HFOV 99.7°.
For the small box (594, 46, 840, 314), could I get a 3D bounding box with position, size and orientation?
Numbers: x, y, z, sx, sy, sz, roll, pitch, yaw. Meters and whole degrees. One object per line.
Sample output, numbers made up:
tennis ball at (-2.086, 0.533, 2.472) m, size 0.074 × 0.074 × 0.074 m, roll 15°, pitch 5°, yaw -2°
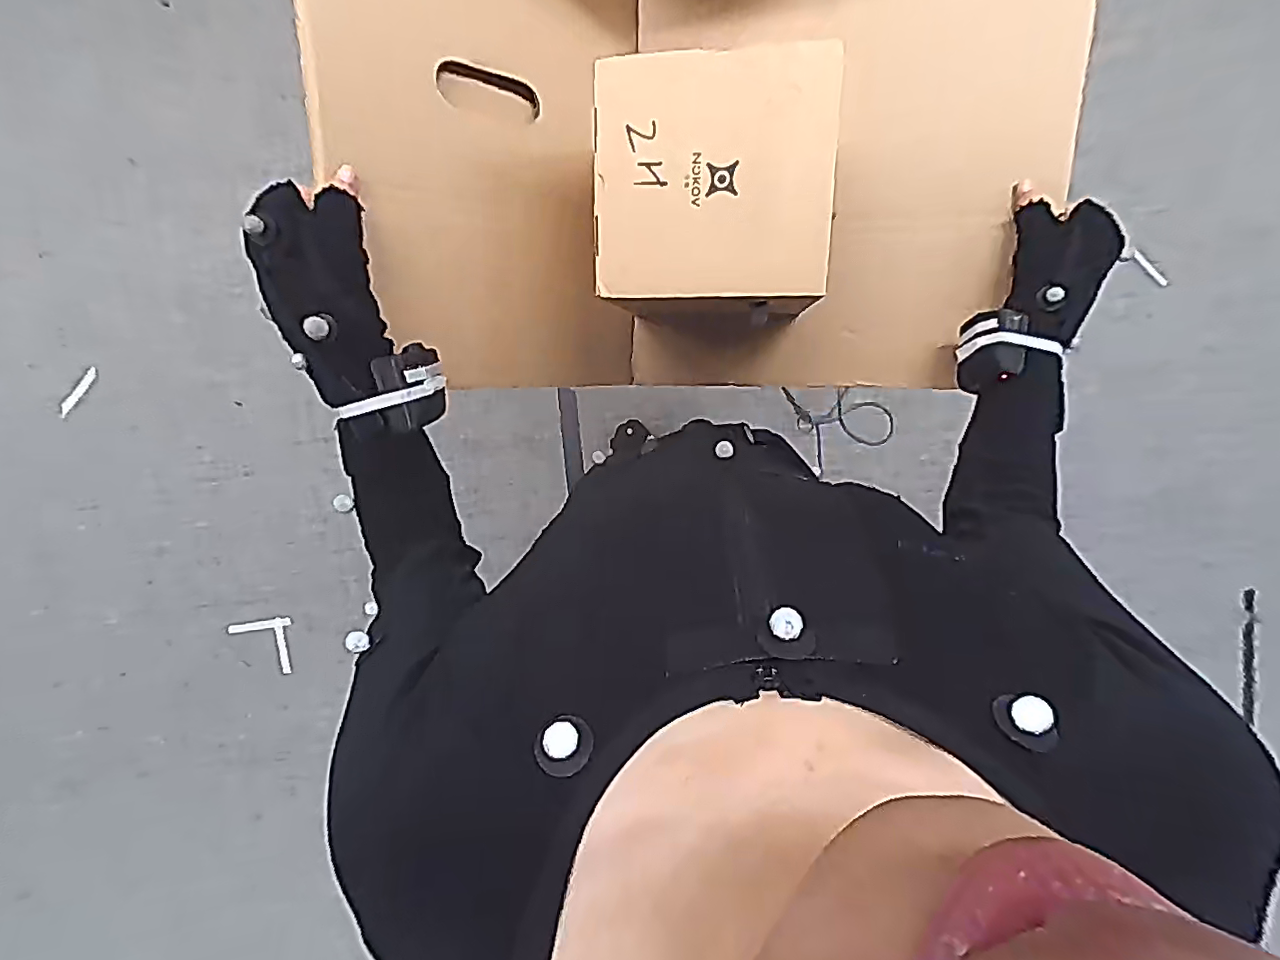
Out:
small box at (0.064, -0.241, 0.478) m, size 0.179 × 0.176 × 0.168 m, roll 3°, pitch 102°, yaw 10°
